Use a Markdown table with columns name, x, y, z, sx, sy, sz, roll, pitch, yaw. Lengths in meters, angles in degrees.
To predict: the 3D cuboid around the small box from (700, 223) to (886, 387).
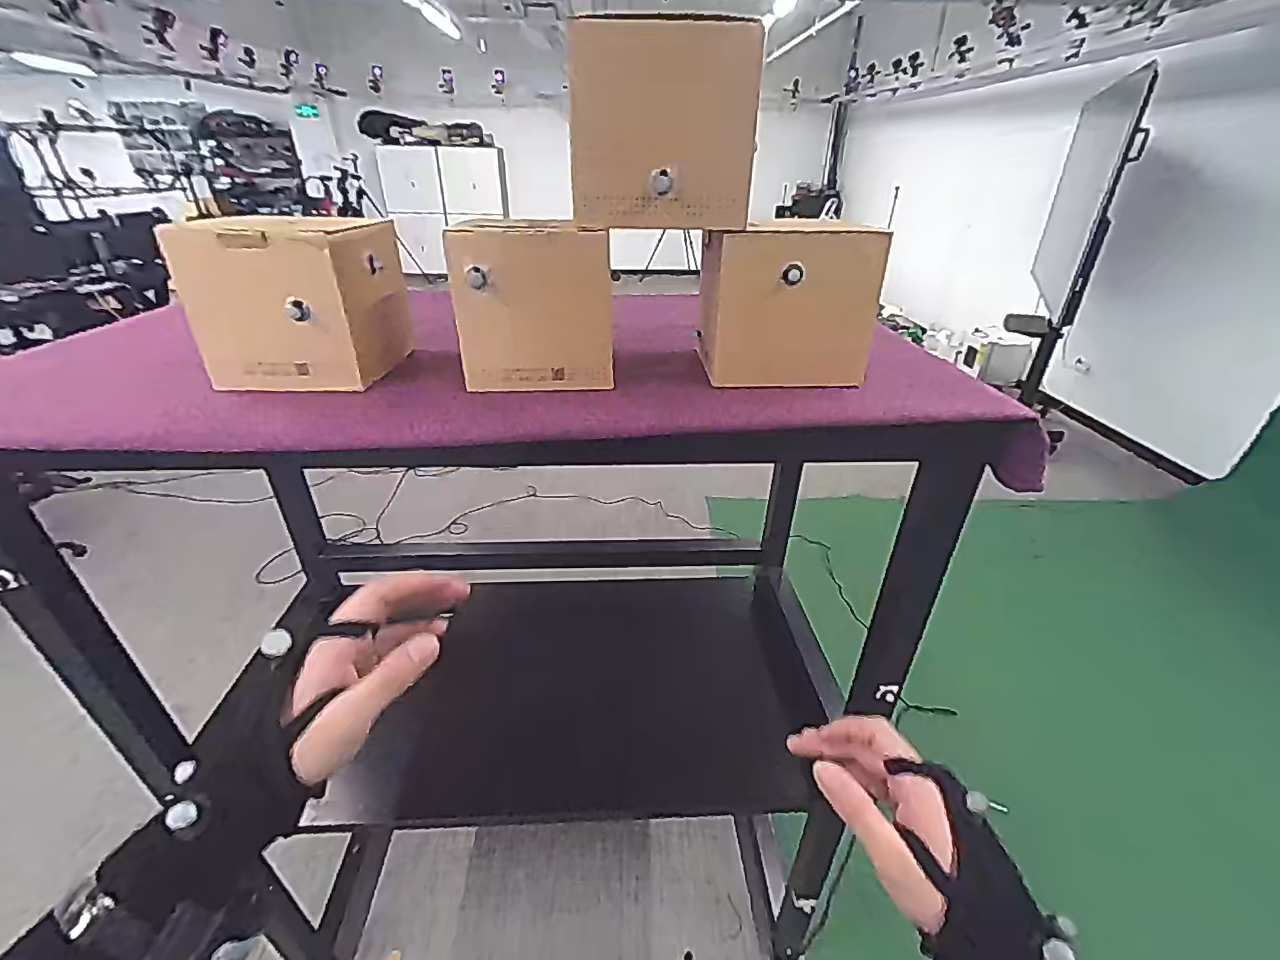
| name | x | y | z | sx | sy | sz | roll | pitch | yaw |
| --- | --- | --- | --- | --- | --- | --- | --- | --- | --- |
| small box | 0.169 | -0.218 | 0.665 | 0.179 | 0.176 | 0.168 | 0 | 30 | -2 |

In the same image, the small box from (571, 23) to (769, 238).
| name | x | y | z | sx | sy | sz | roll | pitch | yaw |
| --- | --- | --- | --- | --- | --- | --- | --- | --- | --- |
| small box | 0.024 | -0.359 | 0.578 | 0.179 | 0.176 | 0.168 | 1 | 29 | -1 |

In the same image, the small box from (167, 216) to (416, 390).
| name | x | y | z | sx | sy | sz | roll | pitch | yaw |
| --- | --- | --- | --- | --- | --- | --- | --- | --- | --- |
| small box | -0.383 | -0.212 | 0.638 | 0.168 | 0.176 | 0.179 | 1 | 29 | -2 |
